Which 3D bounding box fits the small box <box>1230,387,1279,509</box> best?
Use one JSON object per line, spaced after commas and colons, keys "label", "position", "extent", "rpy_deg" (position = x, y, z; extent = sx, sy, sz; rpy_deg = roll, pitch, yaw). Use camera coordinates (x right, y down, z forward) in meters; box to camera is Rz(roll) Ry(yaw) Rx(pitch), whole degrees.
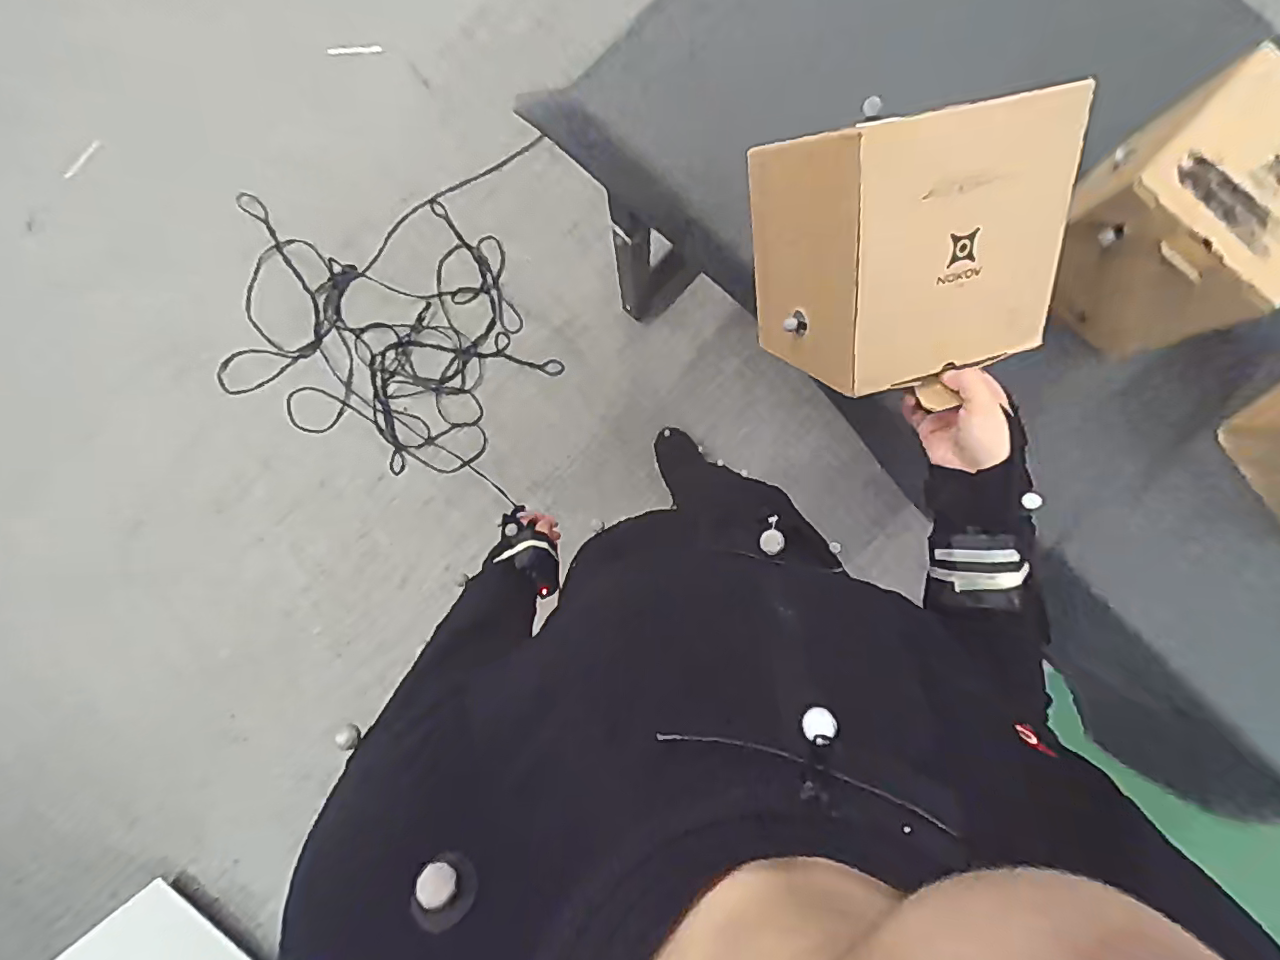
{"label": "small box", "position": [0.785, -0.047, 0.542], "extent": [0.179, 0.176, 0.168], "rpy_deg": [-36, 89, 0]}

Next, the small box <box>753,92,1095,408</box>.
{"label": "small box", "position": [0.205, -0.184, 0.440], "extent": [0.168, 0.176, 0.179], "rpy_deg": [-17, 119, -6]}
